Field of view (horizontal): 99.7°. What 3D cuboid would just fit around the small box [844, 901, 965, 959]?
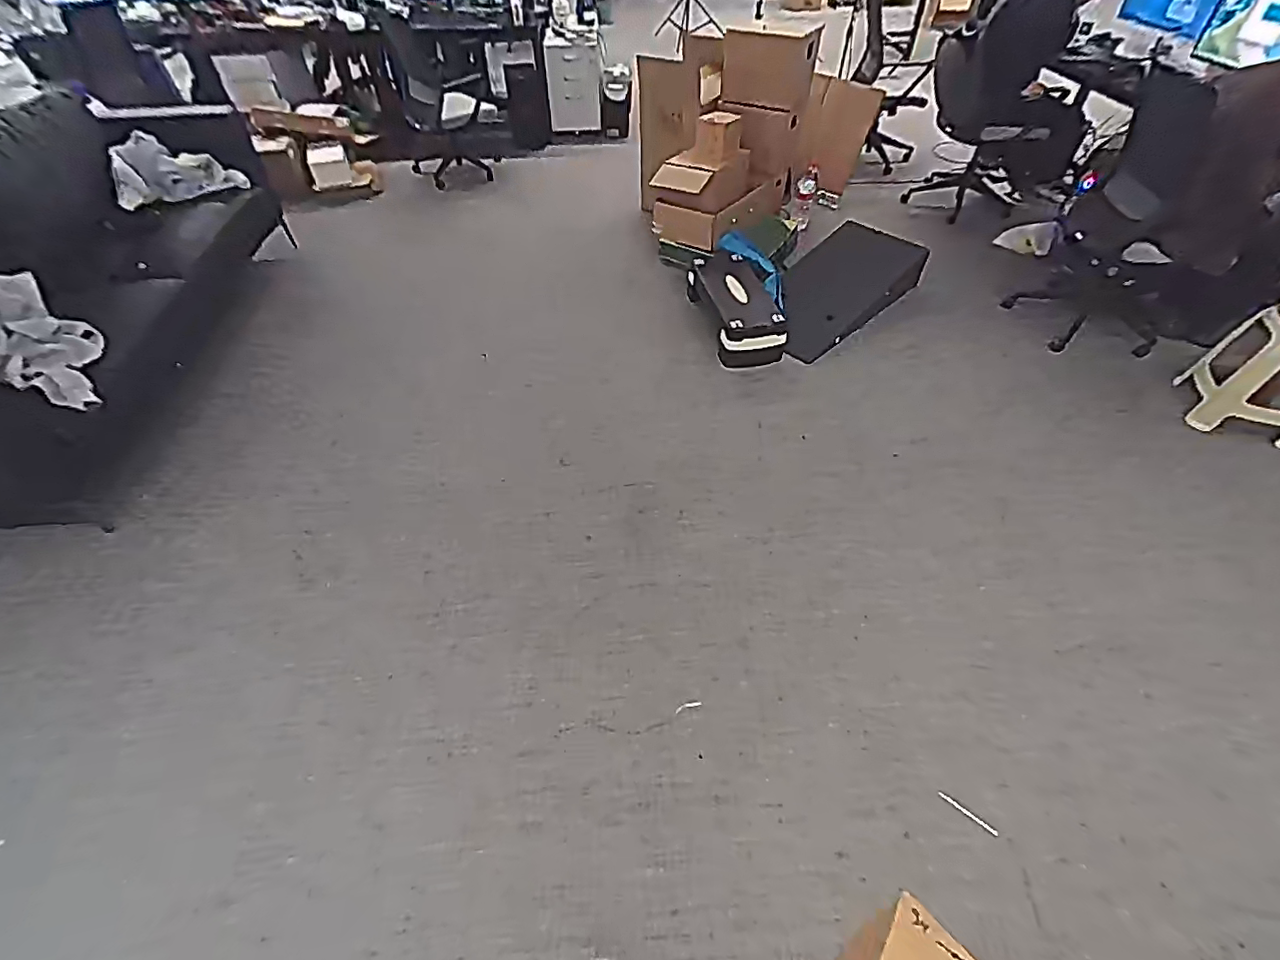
[{"bbox_3d":[0.328,0.686,0.655,0.168,0.176,0.179,37,25,28],"label":"small box"}]
